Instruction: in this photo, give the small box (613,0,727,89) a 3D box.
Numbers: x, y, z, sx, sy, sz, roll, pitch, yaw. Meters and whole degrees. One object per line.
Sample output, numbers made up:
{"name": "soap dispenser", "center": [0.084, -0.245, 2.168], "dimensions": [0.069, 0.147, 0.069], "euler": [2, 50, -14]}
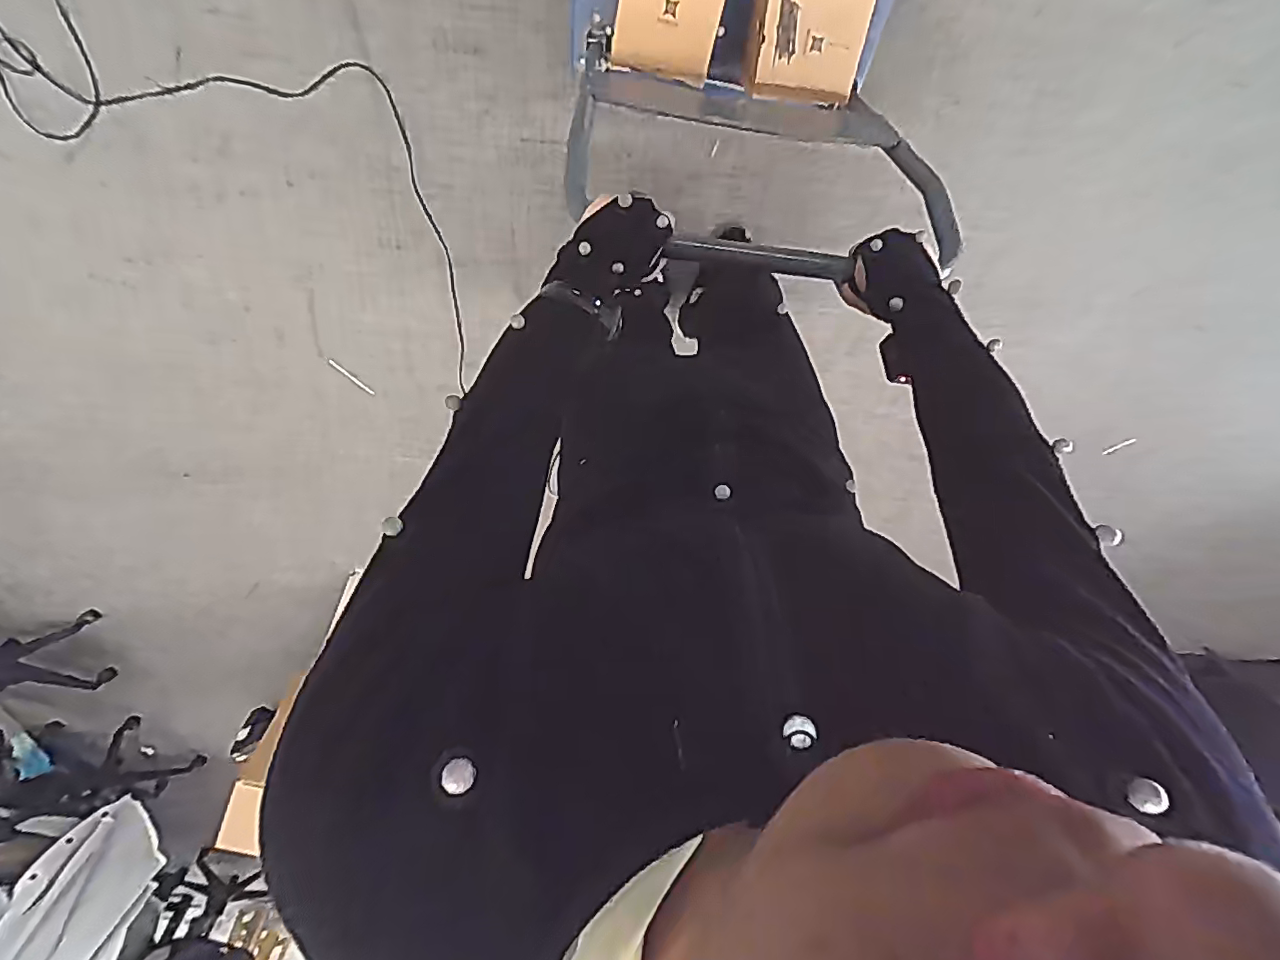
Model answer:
{"name": "small box", "center": [0.049, -0.806, 0.919], "dimensions": [0.168, 0.176, 0.179], "euler": [8, 136, -10]}
